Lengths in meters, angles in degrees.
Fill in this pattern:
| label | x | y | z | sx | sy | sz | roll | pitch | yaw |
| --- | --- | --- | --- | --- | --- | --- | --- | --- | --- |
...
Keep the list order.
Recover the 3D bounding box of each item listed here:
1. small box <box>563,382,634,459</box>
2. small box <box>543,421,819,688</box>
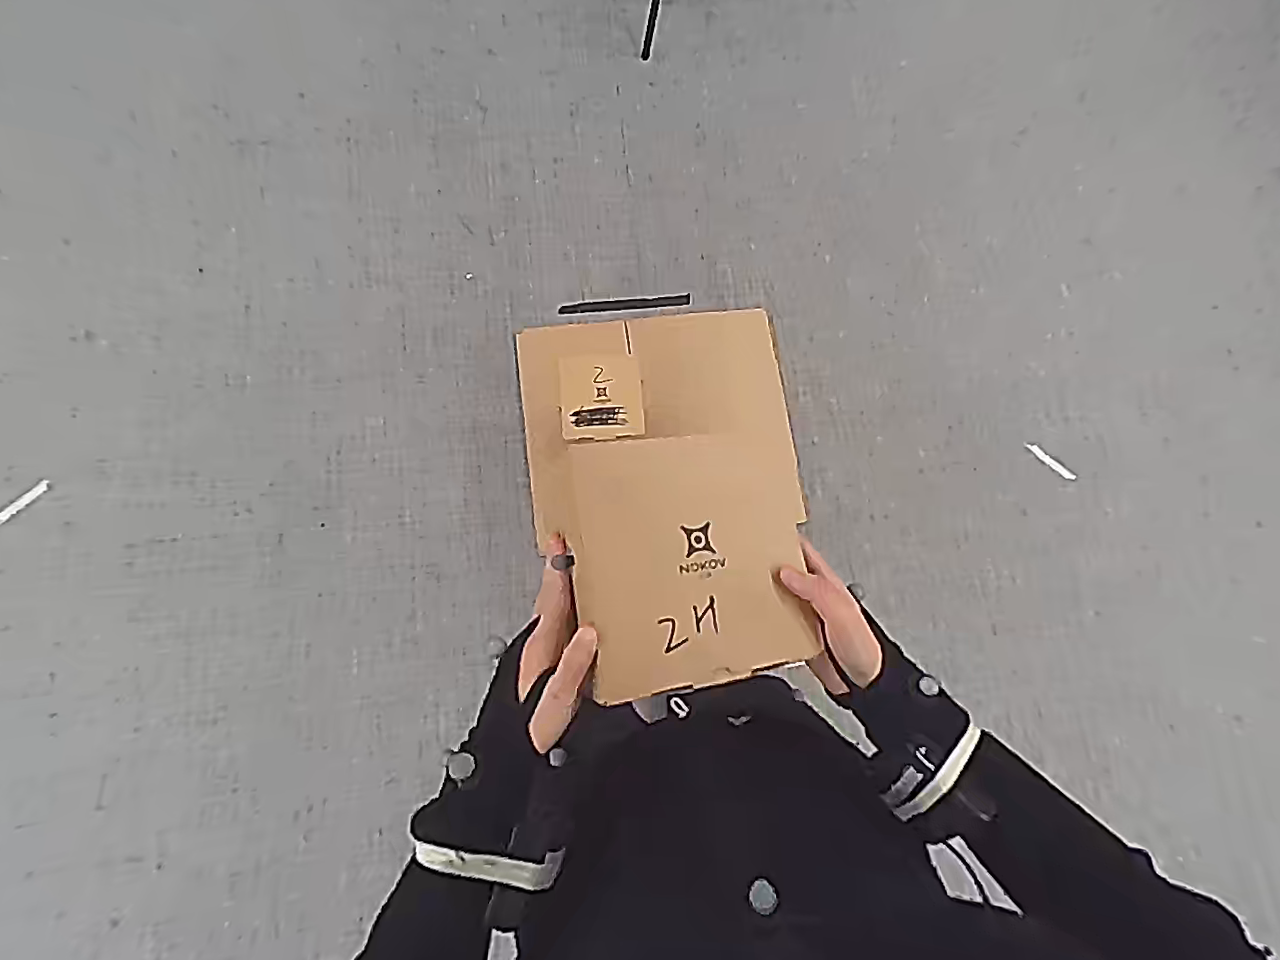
| label | x | y | z | sx | sy | sz | roll | pitch | yaw |
| --- | --- | --- | --- | --- | --- | --- | --- | --- | --- |
| small box | -0.101 | -0.129 | 1.323 | 0.168 | 0.176 | 0.179 | -2 | 79 | -7 |
| small box | 0.016 | 0.063 | 0.454 | 0.168 | 0.176 | 0.179 | -5 | 78 | -18 |
